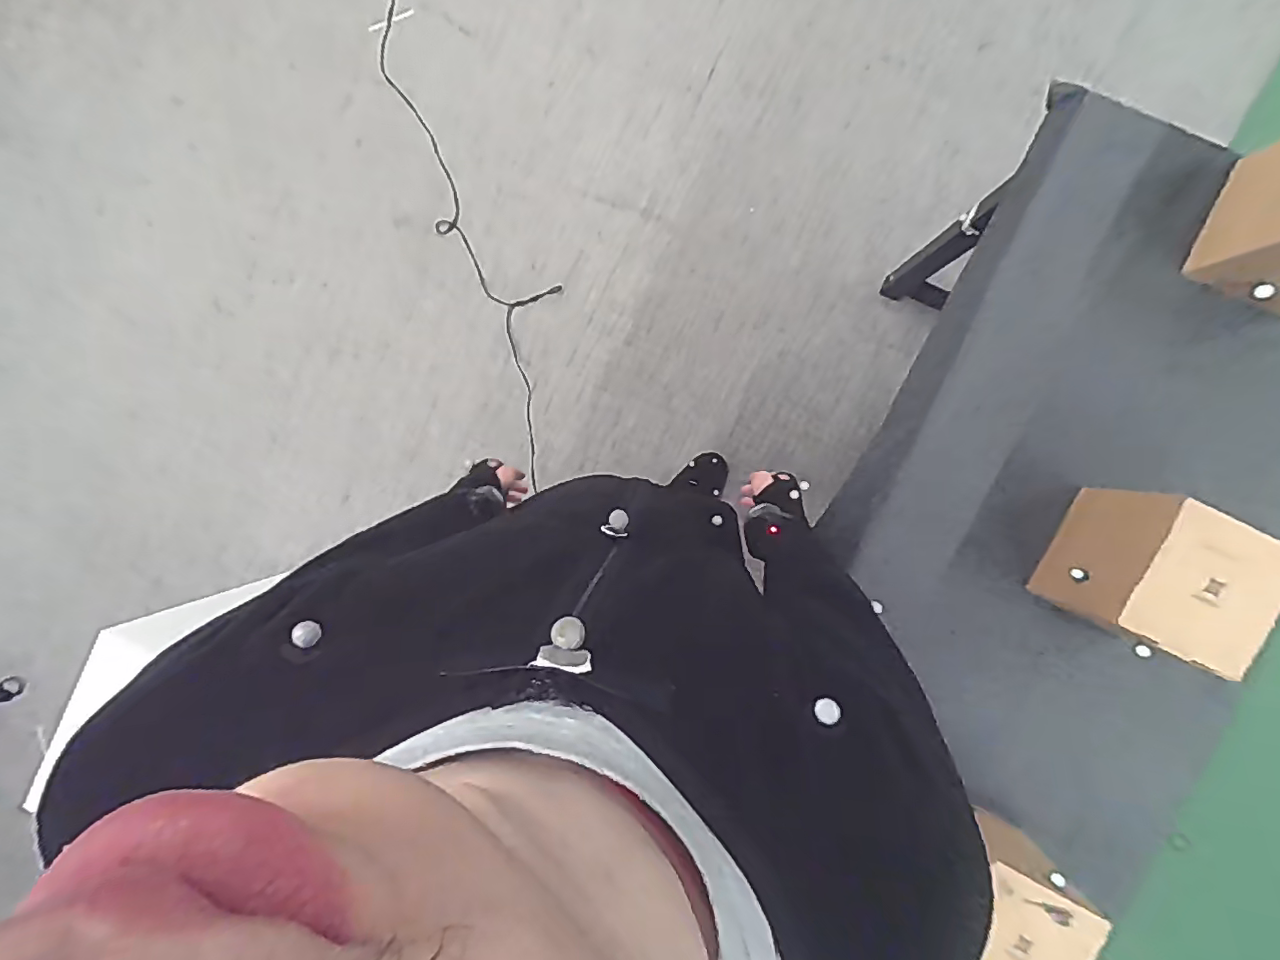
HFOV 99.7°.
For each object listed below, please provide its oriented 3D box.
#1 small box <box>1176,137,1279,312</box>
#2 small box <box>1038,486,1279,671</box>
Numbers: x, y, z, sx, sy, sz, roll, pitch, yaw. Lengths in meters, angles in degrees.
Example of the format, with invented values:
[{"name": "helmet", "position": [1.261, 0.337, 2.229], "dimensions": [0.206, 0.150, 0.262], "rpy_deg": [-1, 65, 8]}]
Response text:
[{"name": "small box", "position": [0.881, -0.348, 0.709], "dimensions": [0.168, 0.176, 0.179], "rpy_deg": [22, 93, 0]}, {"name": "small box", "position": [0.693, 0.119, 0.732], "dimensions": [0.168, 0.176, 0.179], "rpy_deg": [25, 91, -2]}]
